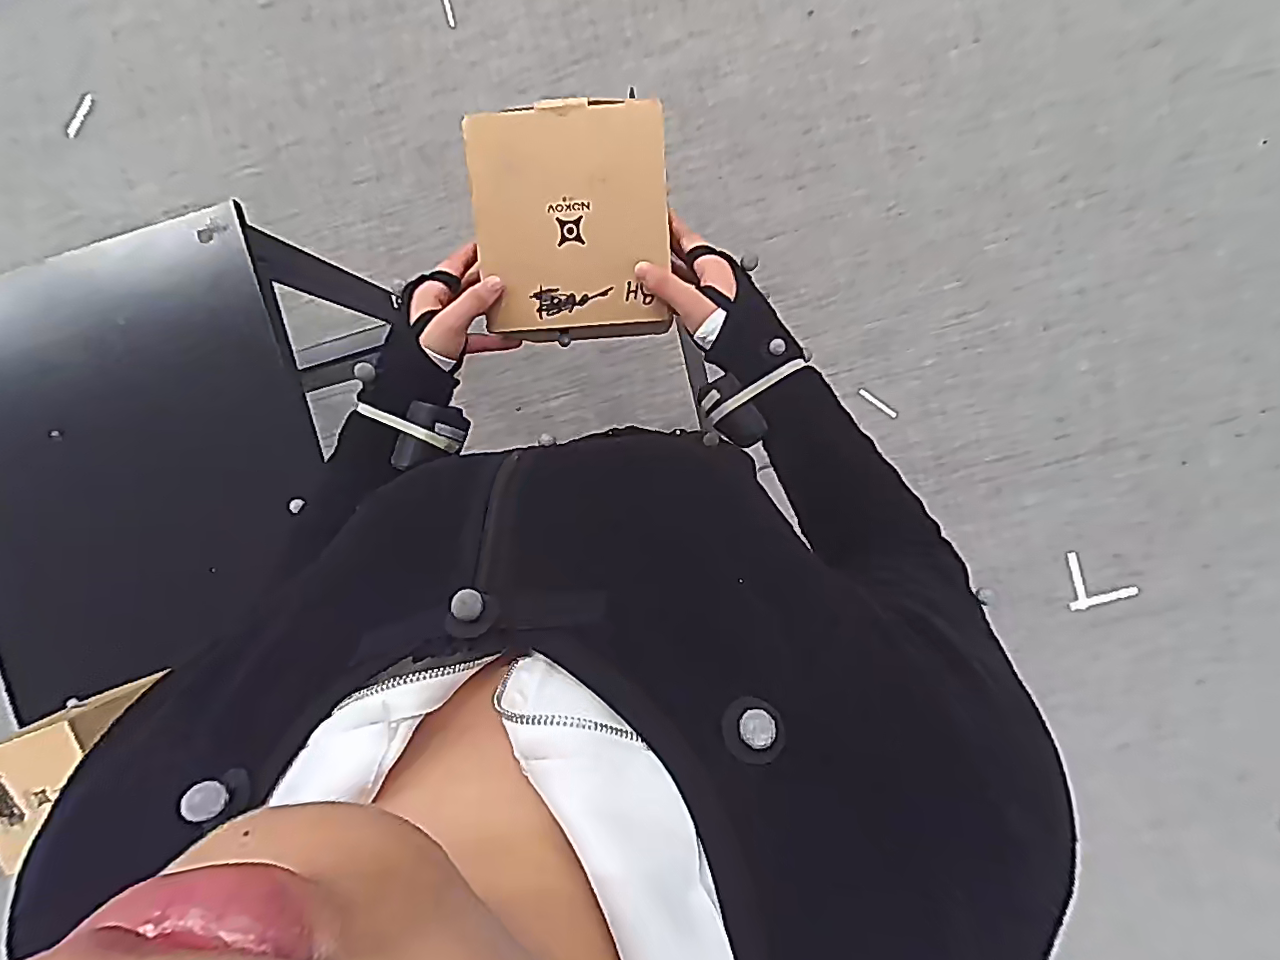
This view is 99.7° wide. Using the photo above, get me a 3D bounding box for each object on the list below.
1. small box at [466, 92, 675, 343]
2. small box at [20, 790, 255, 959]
[{"bbox_3d":[-0.055,-0.236,0.530,0.168,0.176,0.179,-4,100,3],"label":"small box"},{"bbox_3d":[-0.694,0.576,0.774,0.179,0.176,0.168,-11,93,5],"label":"small box"}]
